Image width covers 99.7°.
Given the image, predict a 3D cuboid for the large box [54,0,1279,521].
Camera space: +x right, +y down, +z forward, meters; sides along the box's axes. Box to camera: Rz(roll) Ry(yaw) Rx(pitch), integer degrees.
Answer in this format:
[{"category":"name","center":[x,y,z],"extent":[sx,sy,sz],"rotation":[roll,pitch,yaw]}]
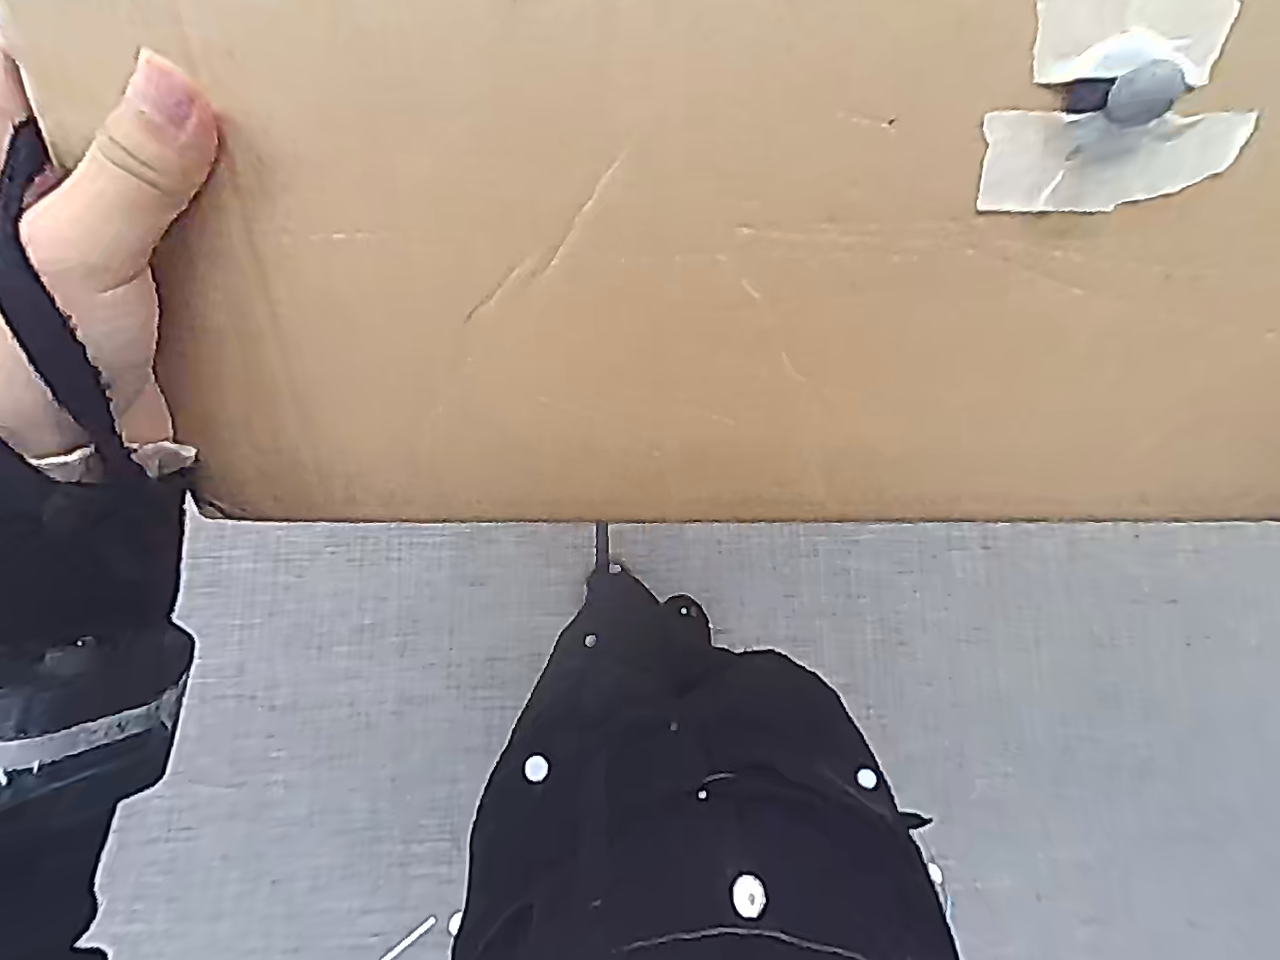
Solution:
[{"category":"large box","center":[0.048,-0.189,0.269],"extent":[0.408,0.320,0.320],"rotation":[-1,113,3]}]
